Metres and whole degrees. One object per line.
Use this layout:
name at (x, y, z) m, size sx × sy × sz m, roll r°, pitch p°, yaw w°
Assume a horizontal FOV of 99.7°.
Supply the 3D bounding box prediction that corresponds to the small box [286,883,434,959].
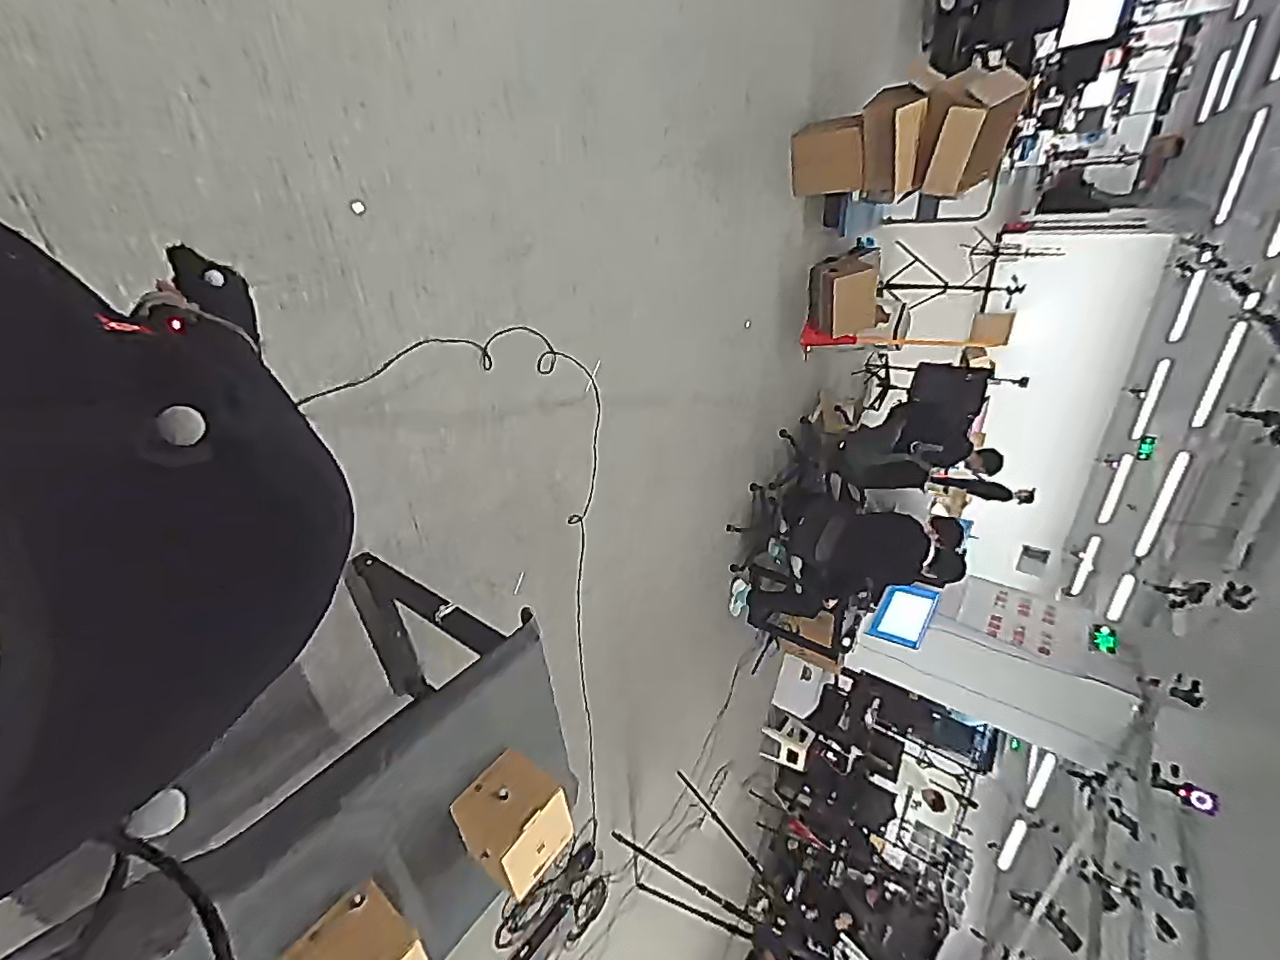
small box at (-0.462, 0.833, 0.909) m, size 0.168 × 0.176 × 0.179 m, roll -32°, pitch 129°, yaw -43°

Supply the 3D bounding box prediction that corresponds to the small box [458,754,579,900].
small box at (-0.257, 0.718, 1.142) m, size 0.168 × 0.176 × 0.179 m, roll -35°, pitch 130°, yaw -41°
